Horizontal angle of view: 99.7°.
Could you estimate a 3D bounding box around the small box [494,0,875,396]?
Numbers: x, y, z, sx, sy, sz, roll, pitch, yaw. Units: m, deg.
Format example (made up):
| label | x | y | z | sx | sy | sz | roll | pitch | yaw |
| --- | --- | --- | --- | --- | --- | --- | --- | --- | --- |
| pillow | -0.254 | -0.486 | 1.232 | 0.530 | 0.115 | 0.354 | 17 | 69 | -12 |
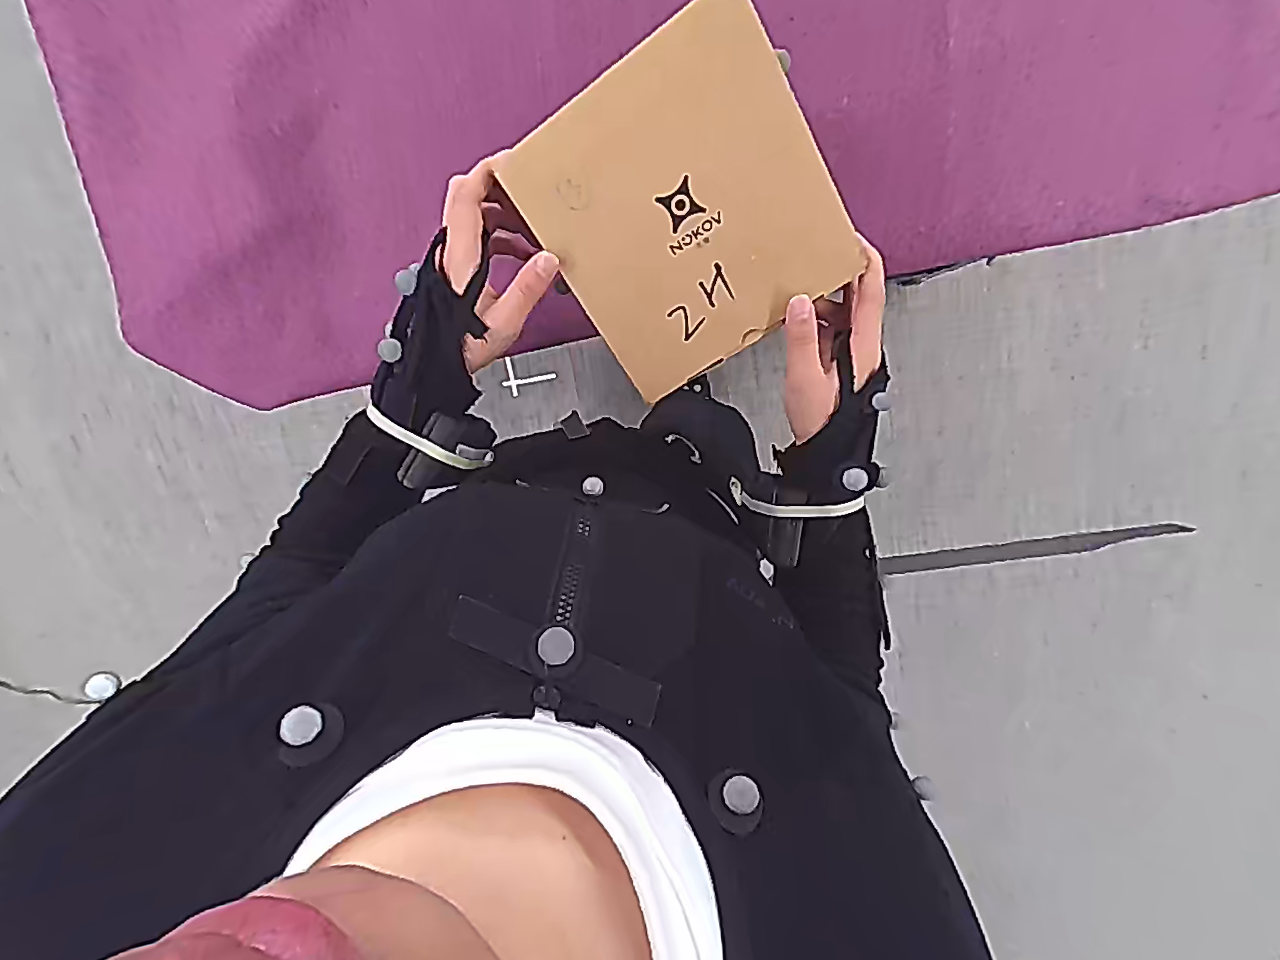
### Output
| label | x | y | z | sx | sy | sz | roll | pitch | yaw |
| --- | --- | --- | --- | --- | --- | --- | --- | --- | --- |
| small box | 0.030 | -0.192 | 0.388 | 0.168 | 0.176 | 0.179 | -30 | 111 | 15 |
